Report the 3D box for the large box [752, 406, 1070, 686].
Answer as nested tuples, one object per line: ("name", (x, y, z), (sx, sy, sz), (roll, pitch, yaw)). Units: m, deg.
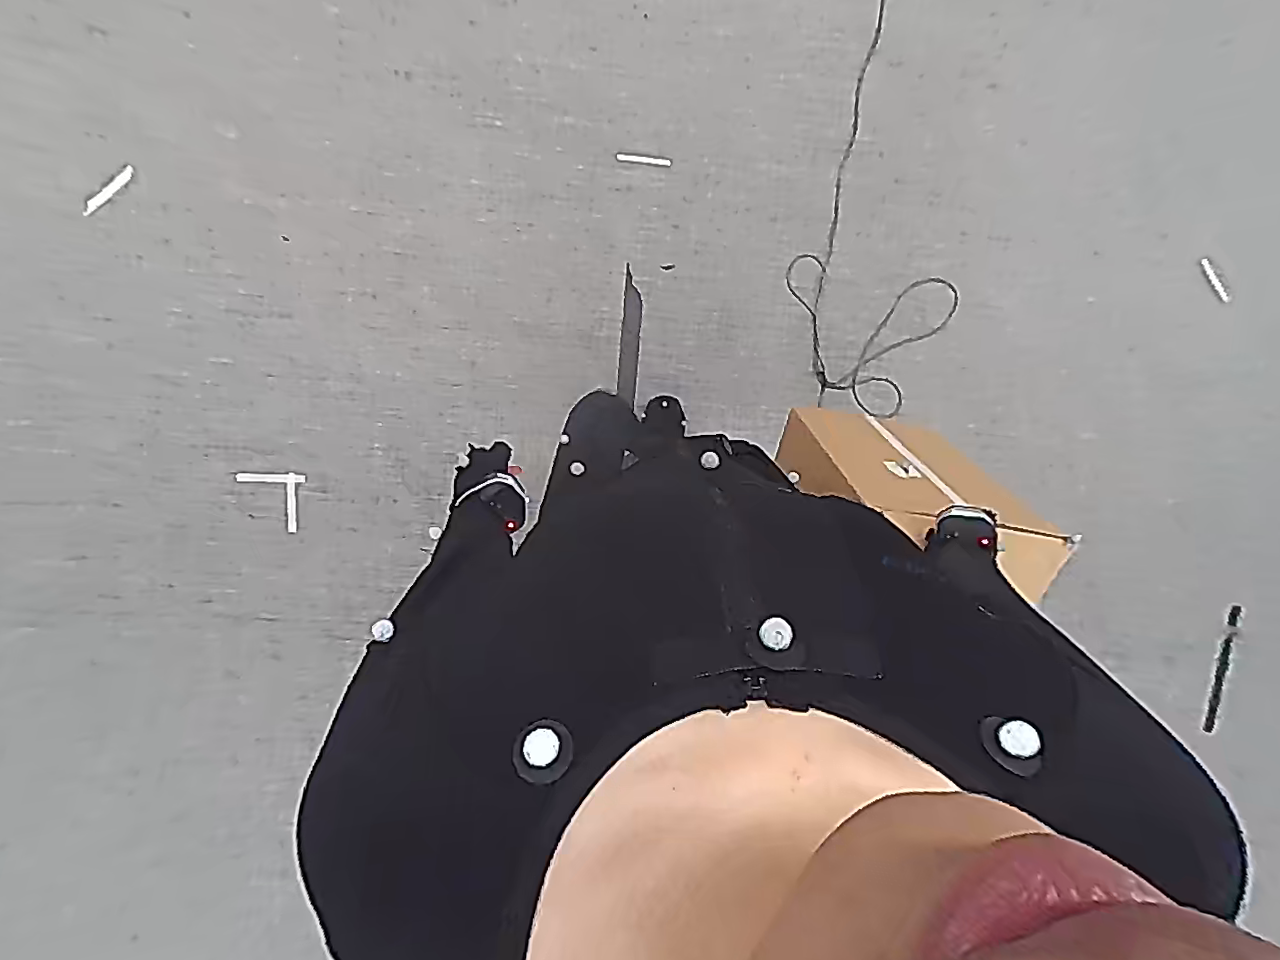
("large box", (0.430, 0.100, 0.993), (0.320, 0.408, 0.320), (9, 118, -5))
